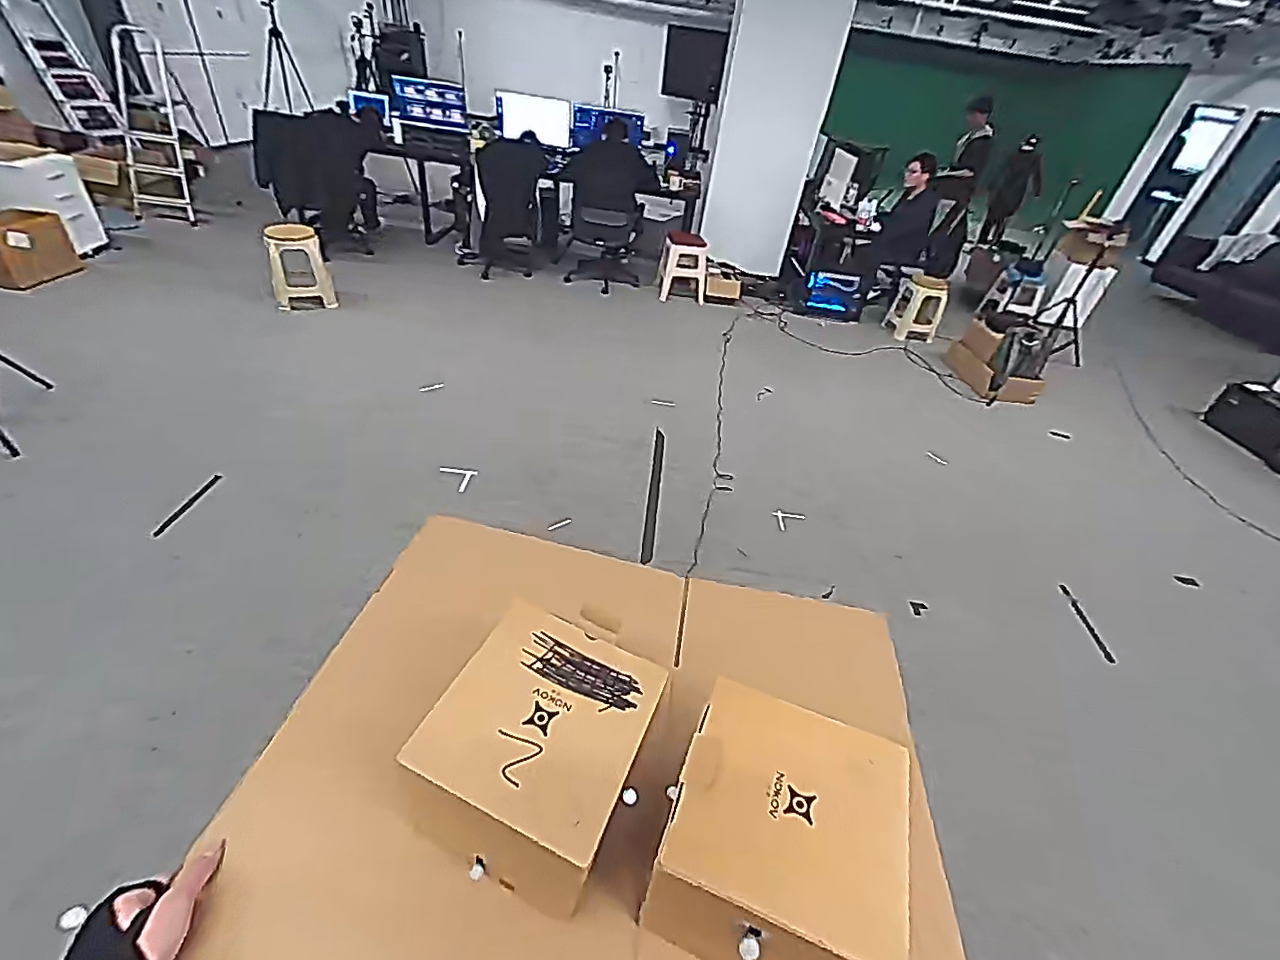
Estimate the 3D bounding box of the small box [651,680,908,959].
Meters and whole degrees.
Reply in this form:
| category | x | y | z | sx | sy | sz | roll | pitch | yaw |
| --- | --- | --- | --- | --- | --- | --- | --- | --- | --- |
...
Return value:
| category | x | y | z | sx | sy | sz | roll | pitch | yaw |
| --- | --- | --- | --- | --- | --- | --- | --- | --- | --- |
| small box | 0.120 | 0.322 | 0.489 | 0.179 | 0.176 | 0.168 | 16 | 41 | 15 |
